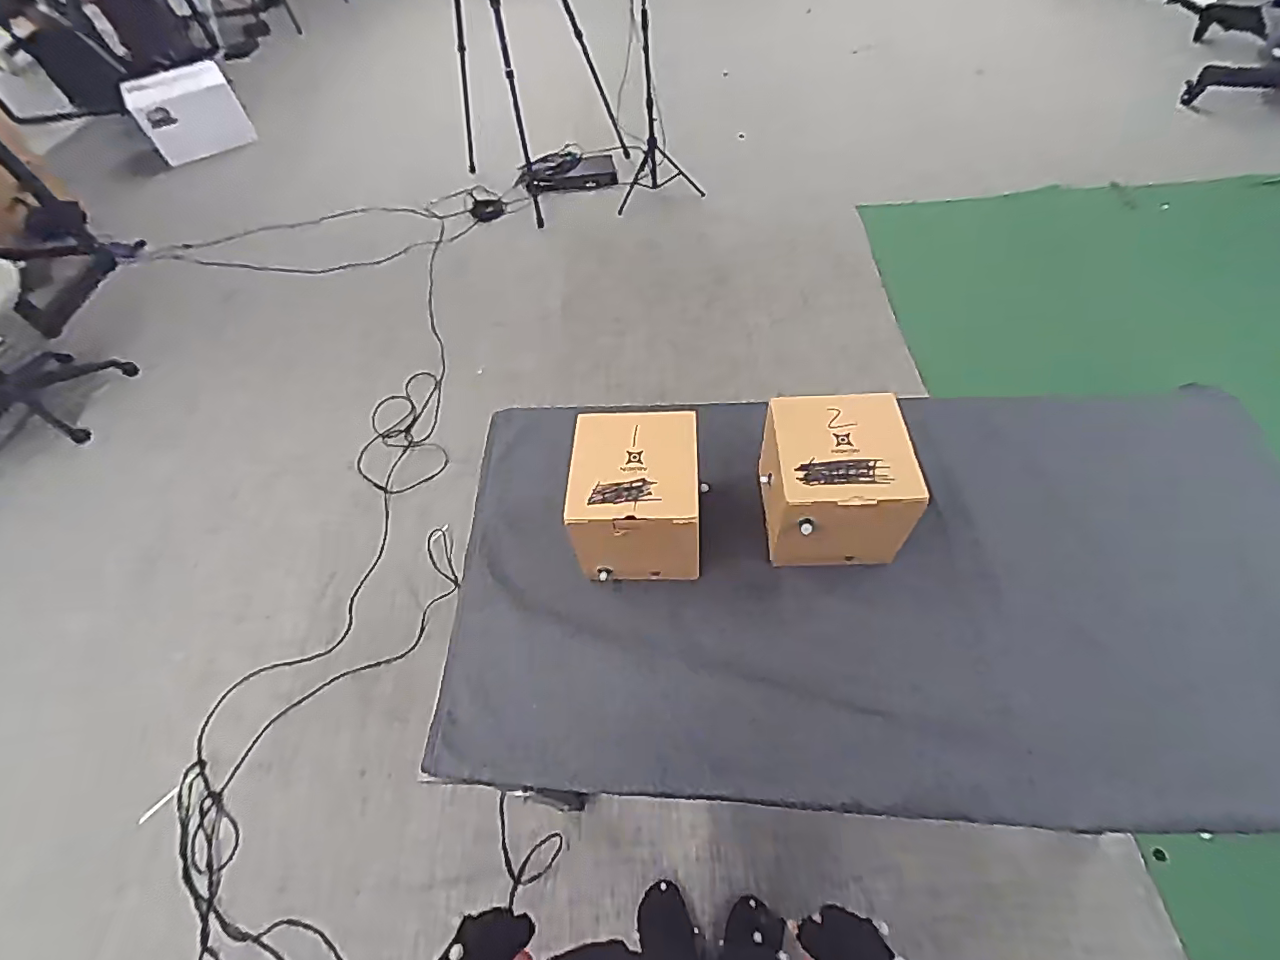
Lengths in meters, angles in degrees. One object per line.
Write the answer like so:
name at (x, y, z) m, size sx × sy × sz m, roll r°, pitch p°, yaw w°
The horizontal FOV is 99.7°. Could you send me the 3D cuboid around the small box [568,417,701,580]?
small box at (0.003, 0.031, 0.766) m, size 0.168 × 0.176 × 0.179 m, roll -1°, pitch 54°, yaw 5°
